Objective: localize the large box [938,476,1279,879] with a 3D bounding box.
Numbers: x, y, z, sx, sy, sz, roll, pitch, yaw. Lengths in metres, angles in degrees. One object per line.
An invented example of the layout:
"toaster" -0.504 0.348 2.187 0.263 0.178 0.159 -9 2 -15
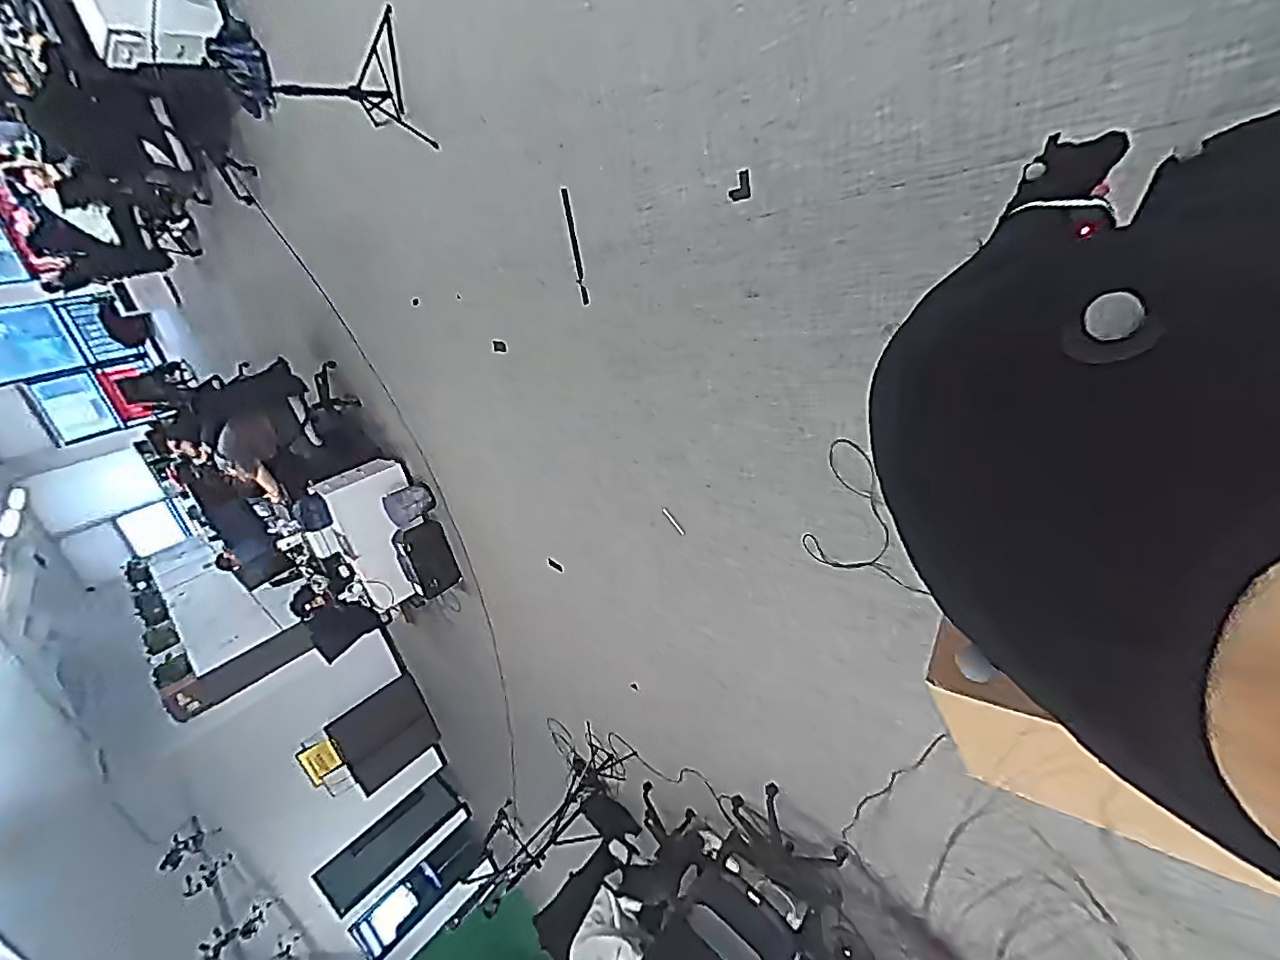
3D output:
"large box" 0.619 0.213 0.624 0.408 0.320 0.320 4 142 44
